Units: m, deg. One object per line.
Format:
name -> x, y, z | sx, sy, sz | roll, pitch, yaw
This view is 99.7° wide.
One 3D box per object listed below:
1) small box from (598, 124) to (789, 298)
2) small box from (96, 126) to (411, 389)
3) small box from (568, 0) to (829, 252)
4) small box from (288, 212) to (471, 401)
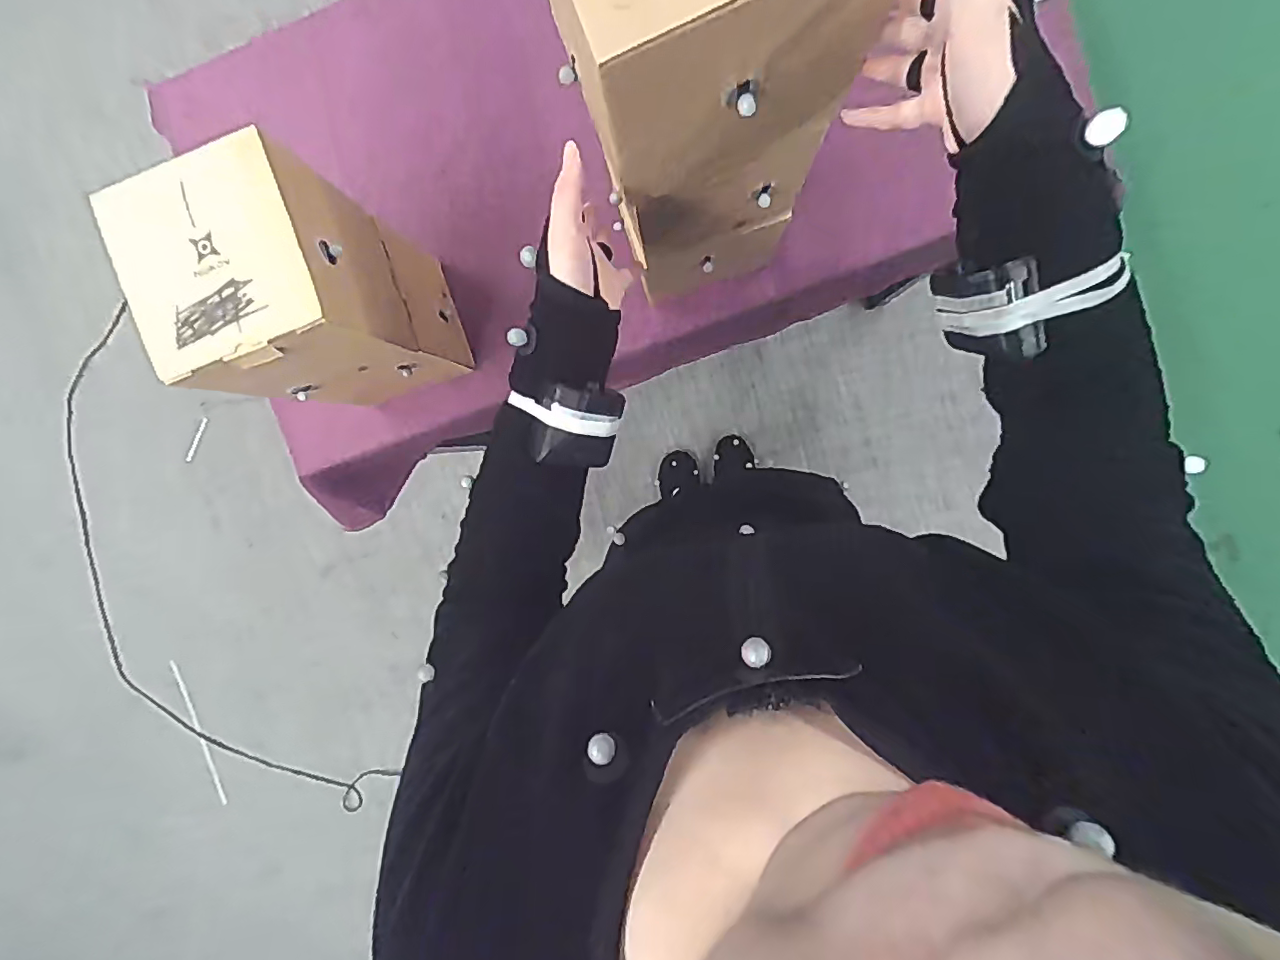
small box -> 0.065, -0.343, 0.667 | 0.179, 0.176, 0.168 | -17, 94, 5
small box -> -0.364, -0.199, 0.546 | 0.168, 0.176, 0.179 | -19, 91, 4
small box -> 0.052, -0.336, 0.505 | 0.168, 0.176, 0.179 | -19, 92, 5
small box -> -0.353, -0.209, 0.709 | 0.179, 0.176, 0.168 | -19, 93, 4
